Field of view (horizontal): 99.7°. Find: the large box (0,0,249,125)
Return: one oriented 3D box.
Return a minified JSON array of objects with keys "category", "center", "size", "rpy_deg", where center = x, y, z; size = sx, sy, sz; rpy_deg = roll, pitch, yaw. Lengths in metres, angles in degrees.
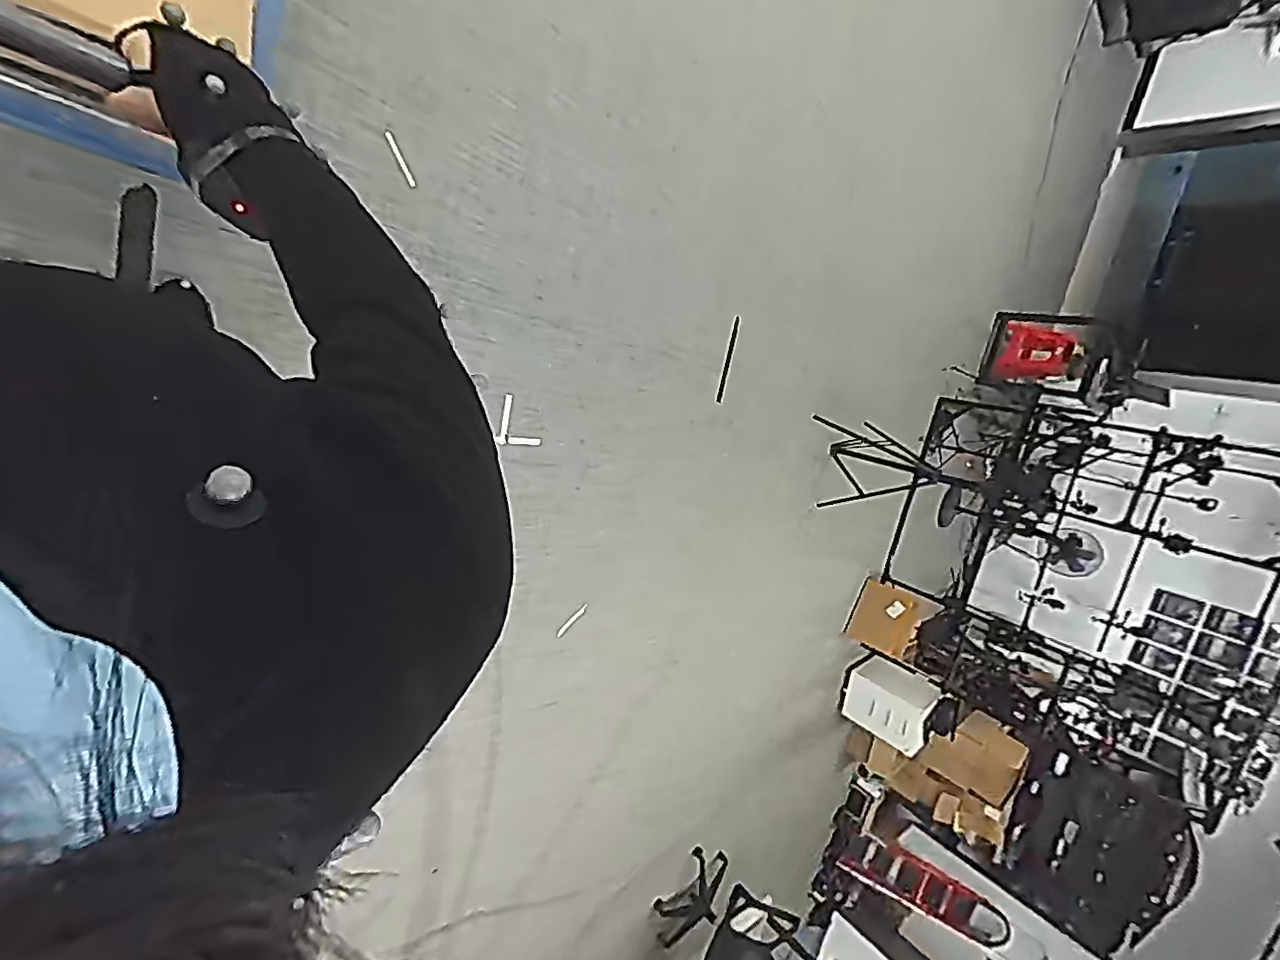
[{"category":"large box","center":[-0.776,-0.728,0.696],"size":[0.408,0.320,0.320],"rpy_deg":[-2,109,-44]}]
